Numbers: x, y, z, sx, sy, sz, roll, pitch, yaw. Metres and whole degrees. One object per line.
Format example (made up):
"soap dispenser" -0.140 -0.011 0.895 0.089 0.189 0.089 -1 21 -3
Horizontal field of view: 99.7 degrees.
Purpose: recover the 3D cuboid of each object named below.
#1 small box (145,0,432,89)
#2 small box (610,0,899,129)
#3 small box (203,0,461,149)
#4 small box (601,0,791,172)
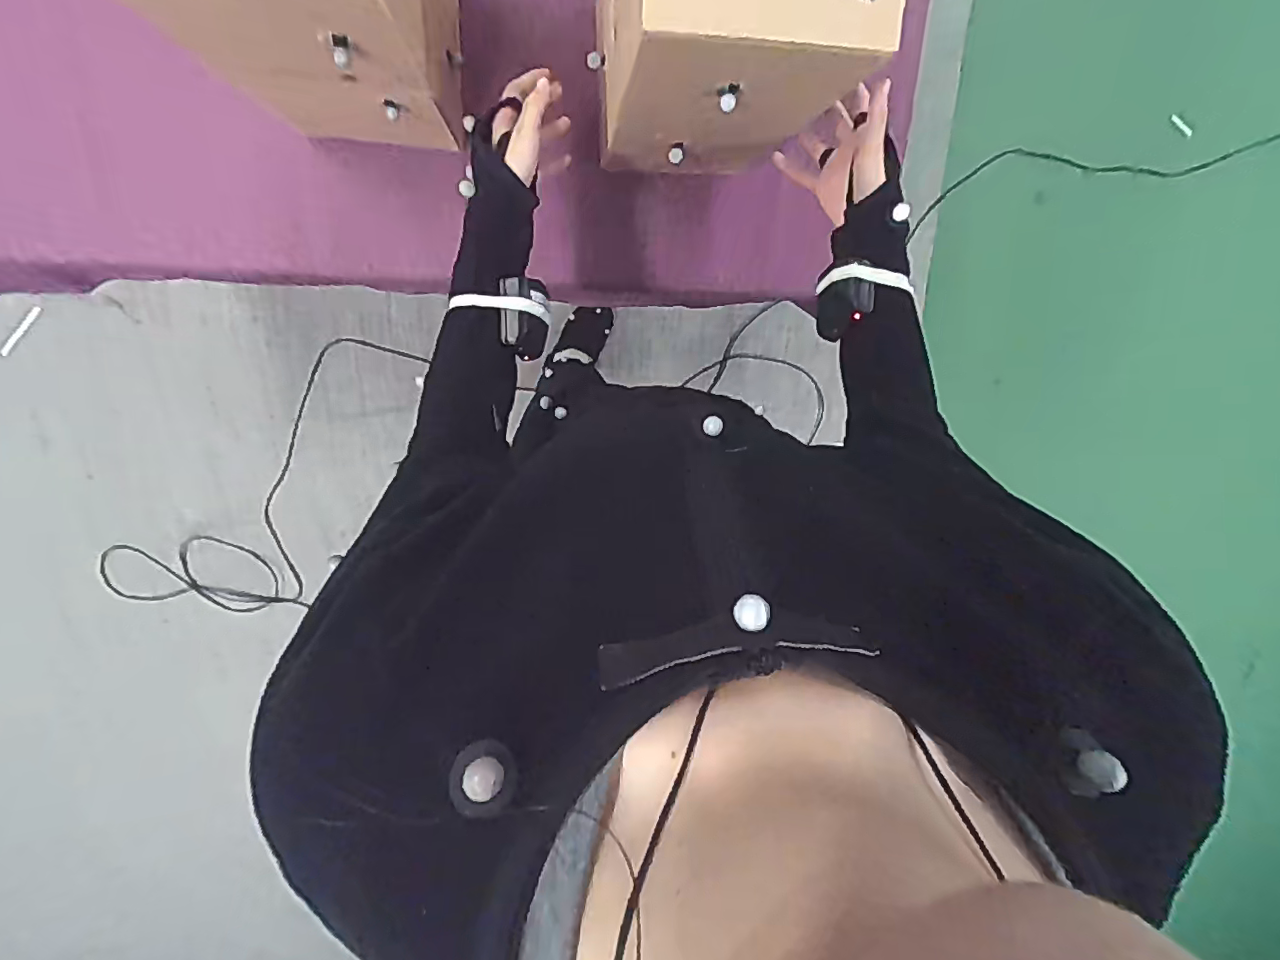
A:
"small box" -0.243 -0.394 0.357 0.168 0.176 0.179 -1 105 -10
"small box" 0.073 -0.384 0.402 0.179 0.176 0.168 -2 105 -8
"small box" -0.275 -0.436 0.510 0.179 0.176 0.168 1 104 -9
"small box" 0.049 -0.432 0.558 0.179 0.176 0.168 -3 106 -7
